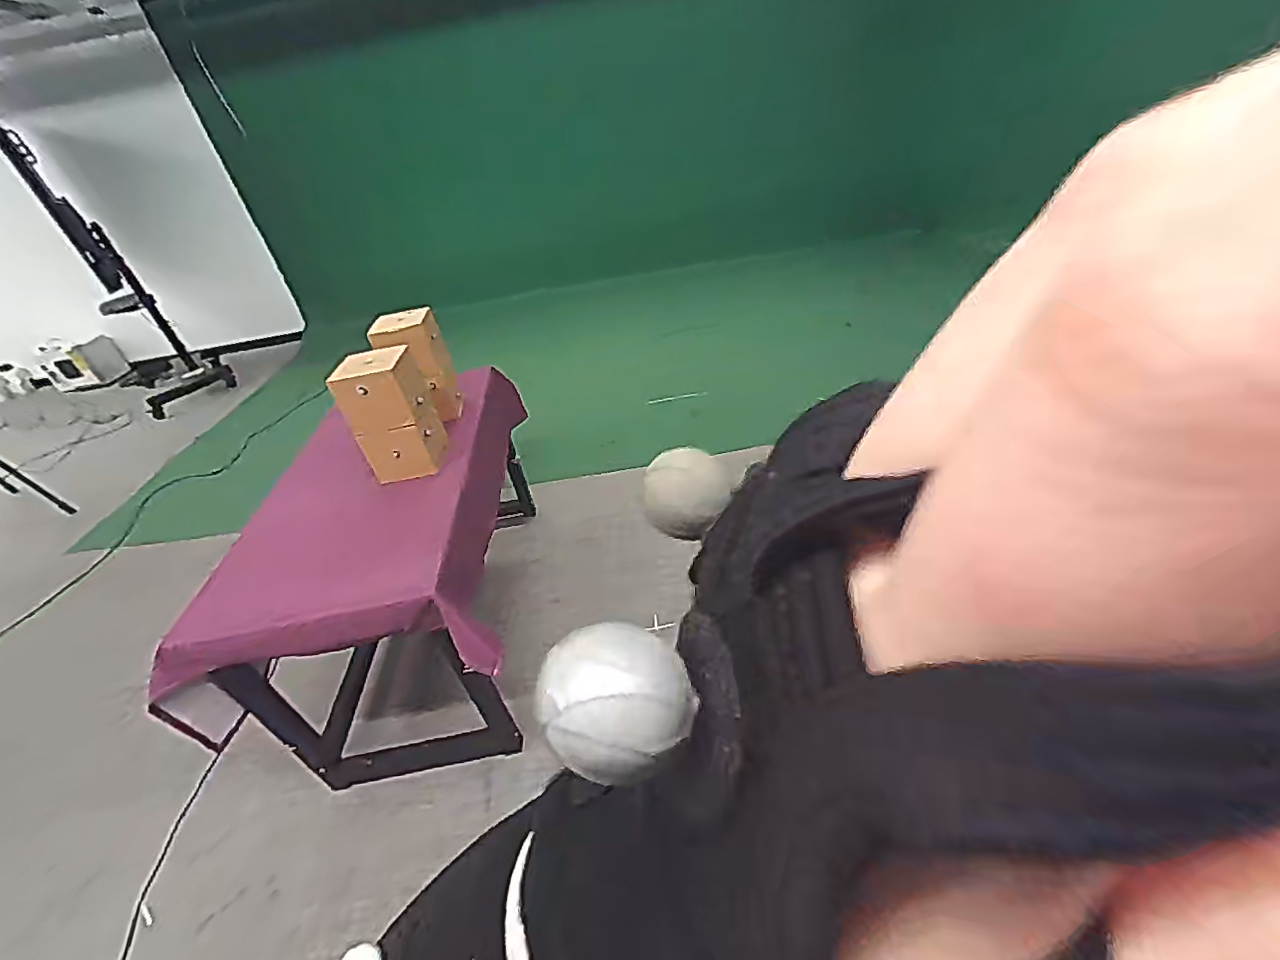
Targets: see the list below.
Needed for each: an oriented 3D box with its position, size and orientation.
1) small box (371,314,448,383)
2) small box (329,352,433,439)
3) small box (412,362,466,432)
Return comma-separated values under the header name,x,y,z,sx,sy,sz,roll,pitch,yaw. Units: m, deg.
name,x,y,z,sx,sy,sz,roll,pitch,yaw
small box,-0.736,-0.414,1.750,0.168,0.176,0.179,-12,36,-3
small box,-0.700,-0.229,1.483,0.179,0.176,0.168,-10,36,2
small box,-0.714,-0.281,1.844,0.179,0.176,0.168,-12,35,-2
